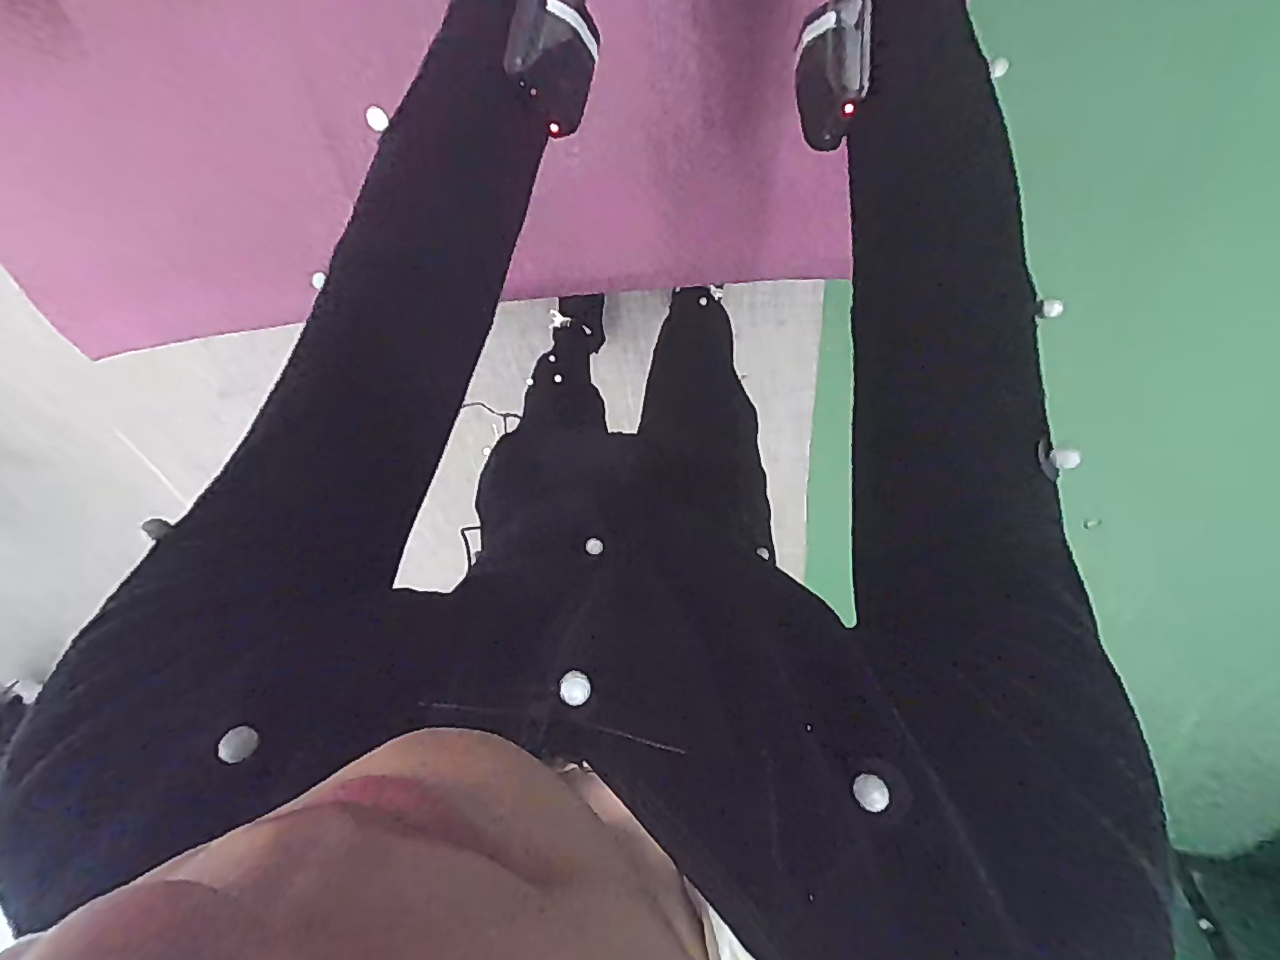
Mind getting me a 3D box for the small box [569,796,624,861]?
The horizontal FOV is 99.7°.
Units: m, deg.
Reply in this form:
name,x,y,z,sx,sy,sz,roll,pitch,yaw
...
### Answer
name,x,y,z,sx,sy,sz,roll,pitch,yaw
small box,-0.169,1.391,2.163,0.168,0.176,0.179,-2,128,15
